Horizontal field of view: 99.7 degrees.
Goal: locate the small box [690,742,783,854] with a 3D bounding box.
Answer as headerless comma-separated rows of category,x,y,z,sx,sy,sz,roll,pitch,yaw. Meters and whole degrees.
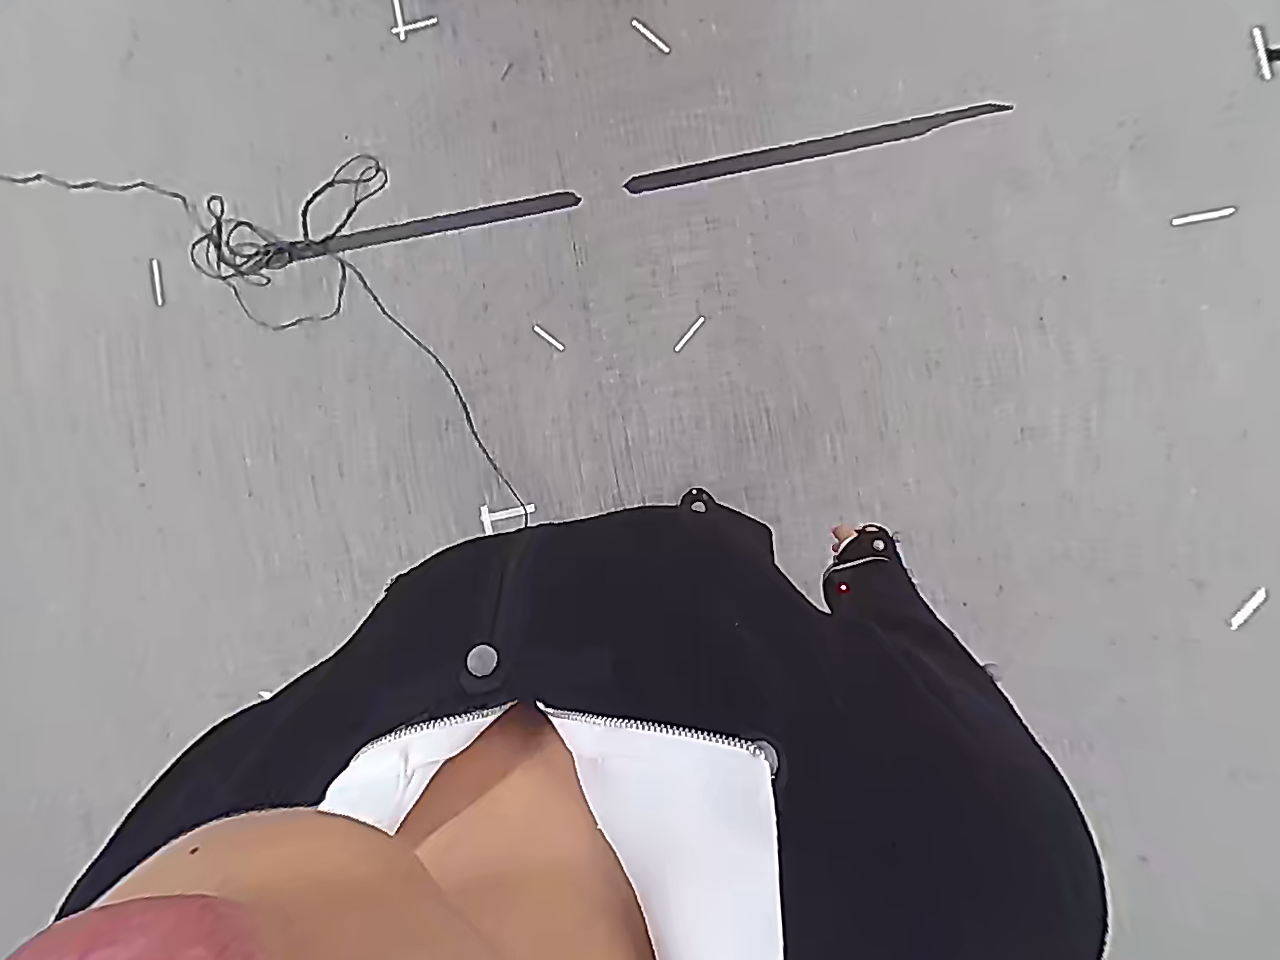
small box,0.208,0.675,1.192,0.168,0.176,0.179,-12,88,4
